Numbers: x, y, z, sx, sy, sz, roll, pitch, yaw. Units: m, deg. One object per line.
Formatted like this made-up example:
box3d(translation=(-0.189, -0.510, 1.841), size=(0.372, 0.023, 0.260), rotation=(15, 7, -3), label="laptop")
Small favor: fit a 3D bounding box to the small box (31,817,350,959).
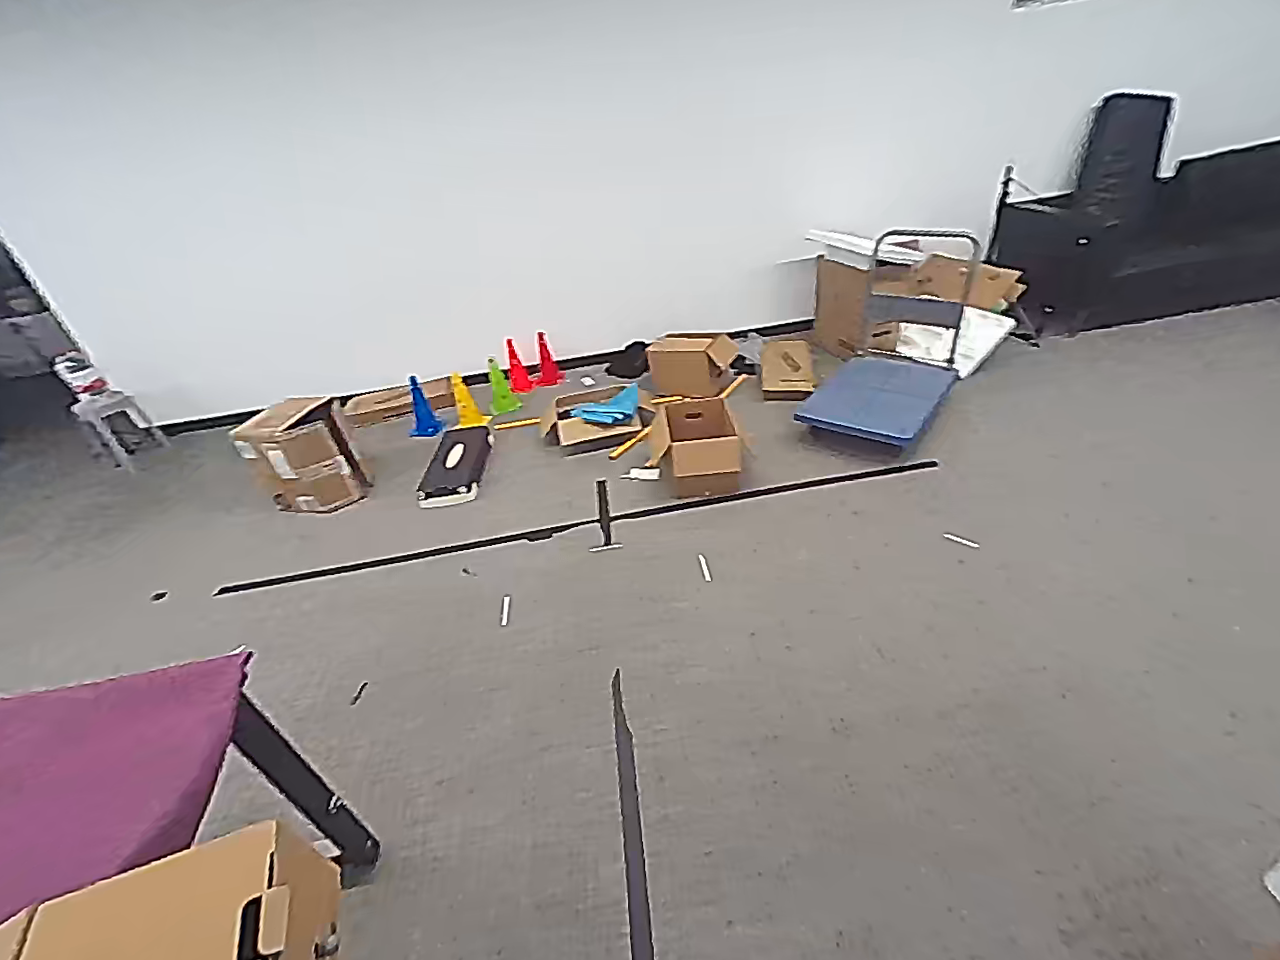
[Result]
box3d(translation=(-0.371, 0.433, 0.460), size=(0.179, 0.176, 0.168), rotation=(-13, 43, -17), label="small box")
